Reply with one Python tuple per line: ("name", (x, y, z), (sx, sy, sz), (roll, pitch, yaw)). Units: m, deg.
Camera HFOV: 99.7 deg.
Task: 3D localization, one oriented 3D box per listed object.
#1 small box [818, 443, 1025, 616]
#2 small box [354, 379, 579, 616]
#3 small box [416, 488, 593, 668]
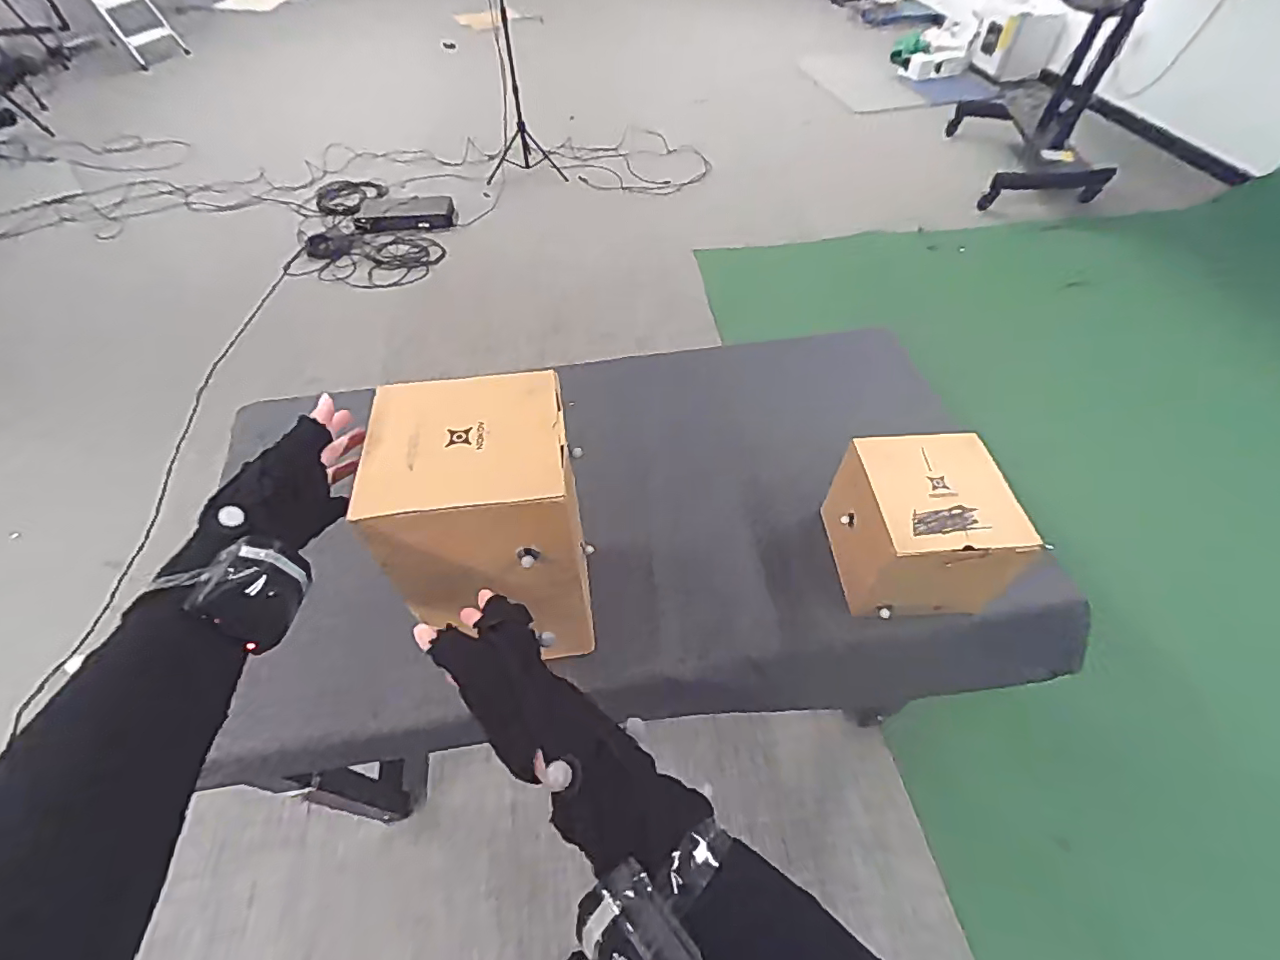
("small box", (0.353, 0.072, 0.721), (0.168, 0.176, 0.179), (-2, 51, -1))
("small box", (-0.156, 0.020, 0.554), (0.179, 0.176, 0.168), (-7, 49, -5))
("small box", (-0.158, 0.122, 0.682), (0.179, 0.176, 0.168), (-6, 51, -5))
